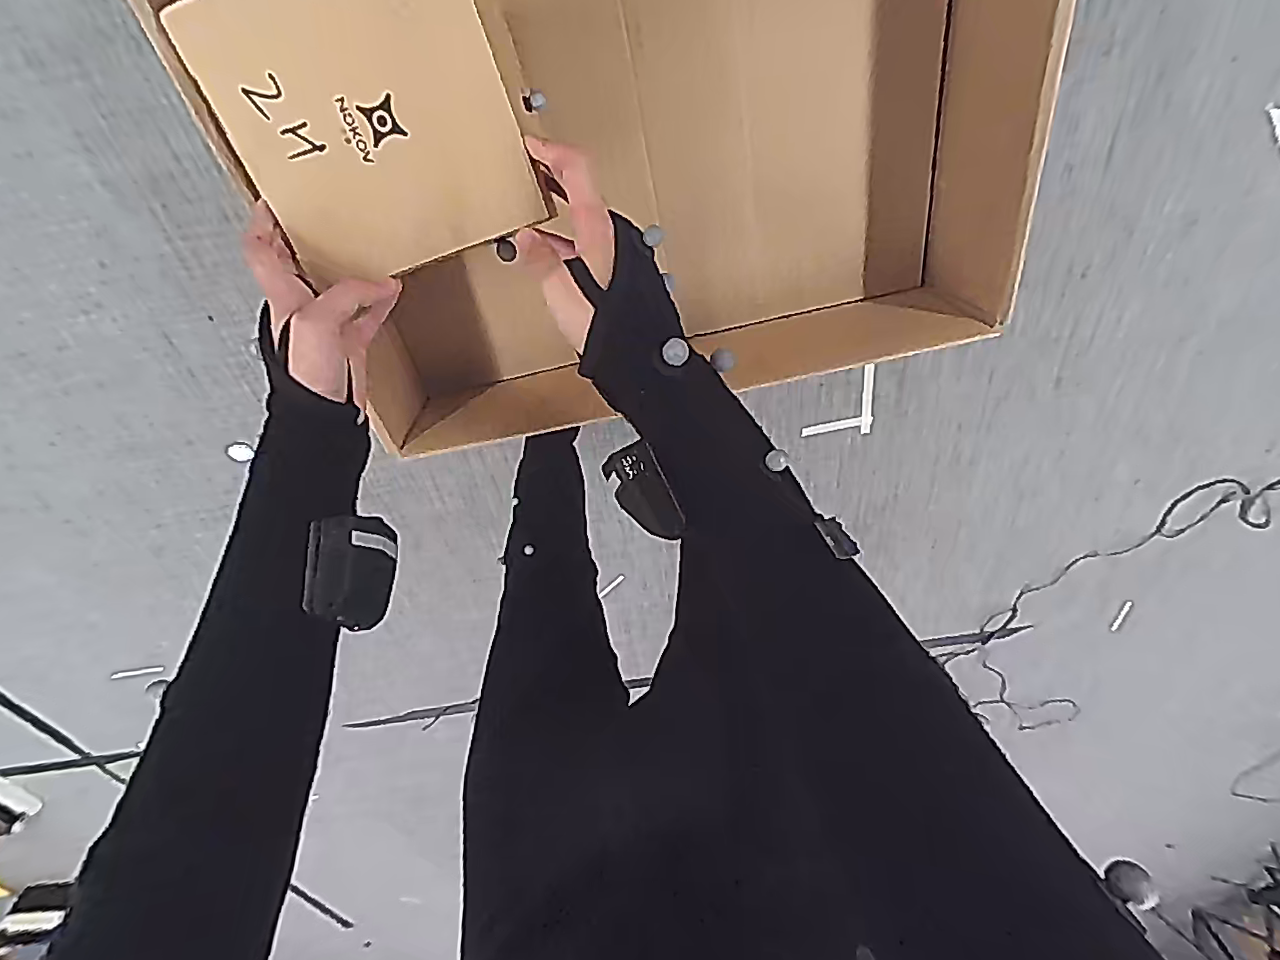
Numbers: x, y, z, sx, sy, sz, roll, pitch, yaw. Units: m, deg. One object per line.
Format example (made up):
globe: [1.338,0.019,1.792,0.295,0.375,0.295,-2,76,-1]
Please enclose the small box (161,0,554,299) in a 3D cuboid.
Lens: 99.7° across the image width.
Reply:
small box: [-0.171,-0.254,0.404,0.179,0.176,0.168,-17,117,5]
